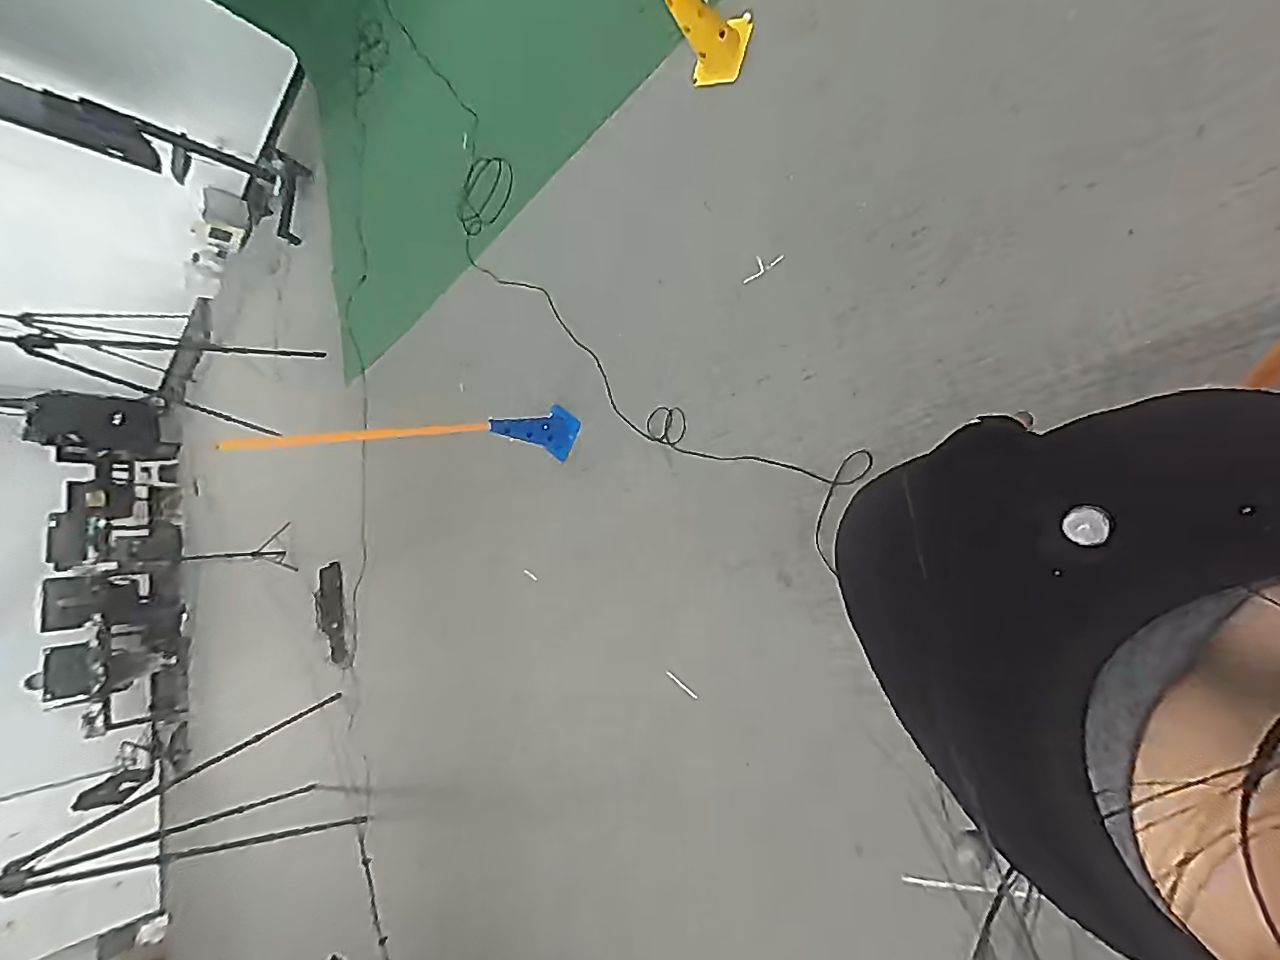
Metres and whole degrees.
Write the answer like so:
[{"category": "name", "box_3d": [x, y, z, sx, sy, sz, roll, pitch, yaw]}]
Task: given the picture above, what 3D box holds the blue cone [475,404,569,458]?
[{"category": "blue cone", "box_3d": [-0.484, -0.207, 2.168, 0.192, 0.380, 0.193, 37, 113, 34]}]
